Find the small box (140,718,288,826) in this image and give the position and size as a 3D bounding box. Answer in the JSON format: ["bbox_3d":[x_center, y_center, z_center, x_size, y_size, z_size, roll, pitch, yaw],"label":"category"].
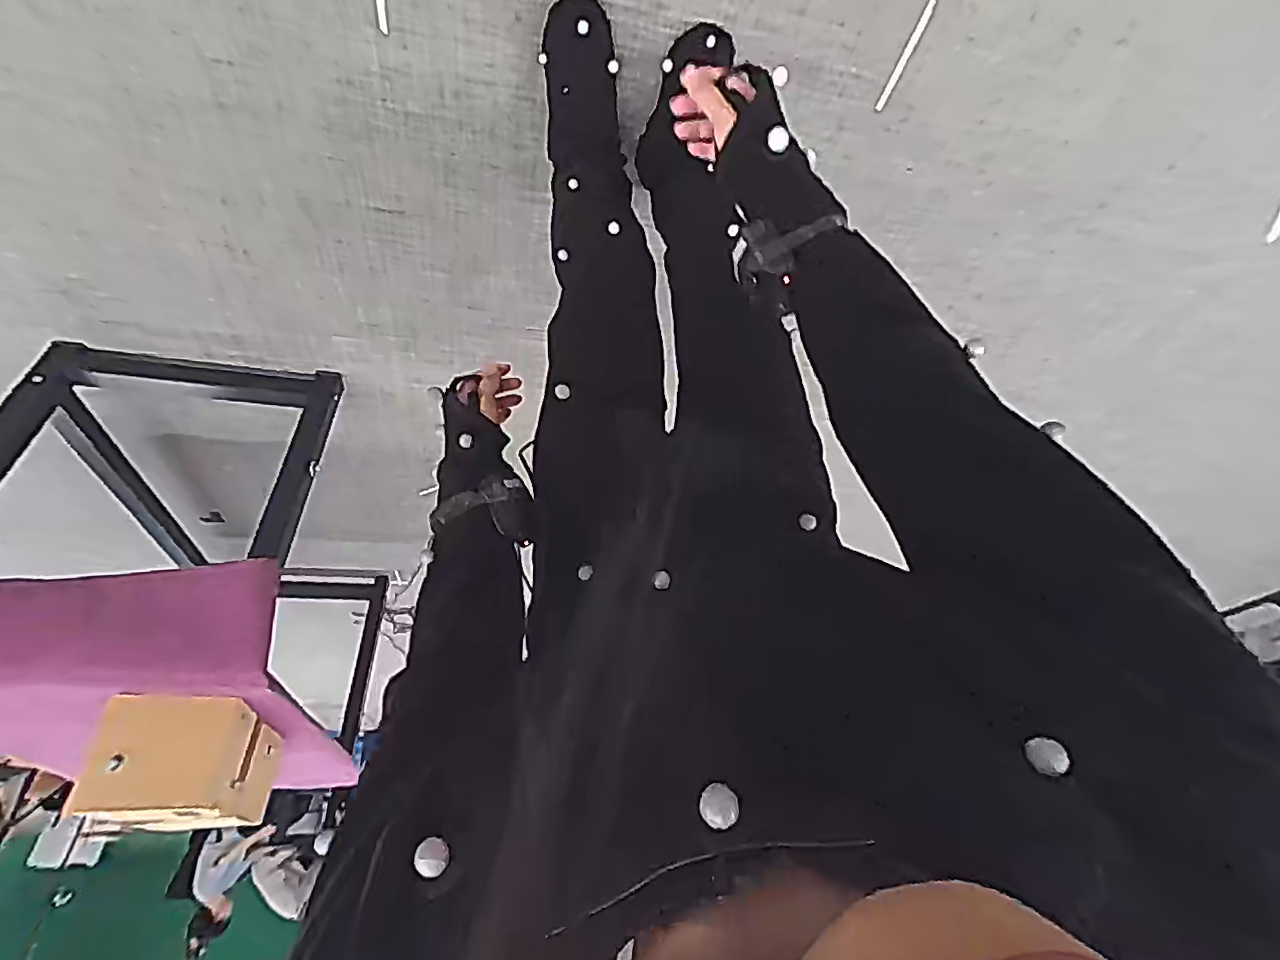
[{"bbox_3d":[-0.843,0.585,1.092,0.168,0.176,0.179,4,143,-14],"label":"small box"}]
